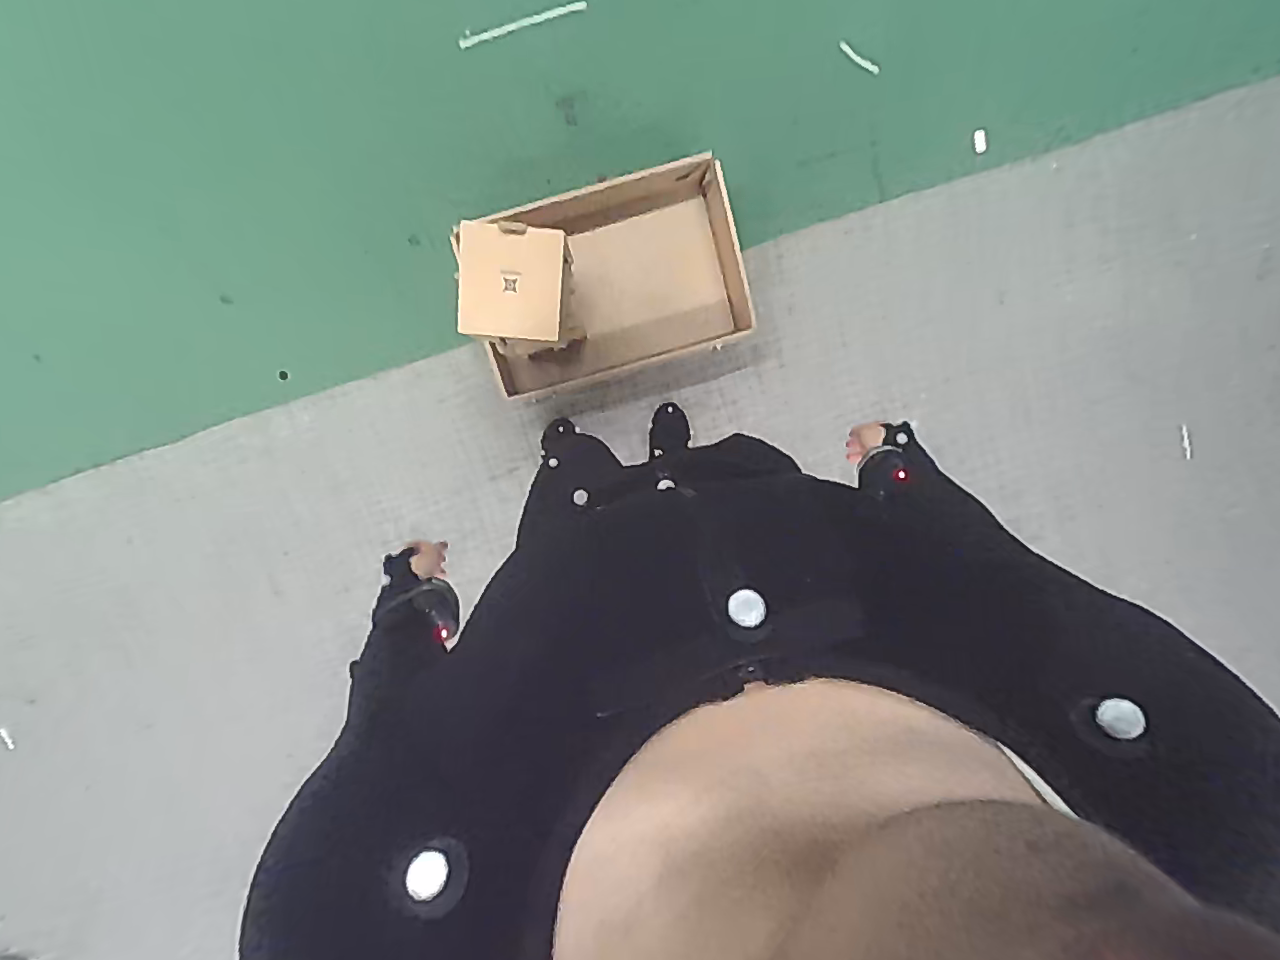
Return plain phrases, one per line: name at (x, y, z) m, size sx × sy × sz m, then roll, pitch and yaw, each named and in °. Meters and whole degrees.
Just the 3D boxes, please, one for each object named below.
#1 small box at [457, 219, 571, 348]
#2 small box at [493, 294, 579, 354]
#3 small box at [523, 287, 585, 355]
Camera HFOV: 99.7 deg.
small box at (-0.211, -0.328, 0.939) m, size 0.168 × 0.176 × 0.179 m, roll 4°, pitch 99°, yaw -5°
small box at (-0.226, -0.362, 1.098) m, size 0.168 × 0.176 × 0.179 m, roll -18°, pitch 100°, yaw -1°
small box at (-0.233, -0.401, 1.258) m, size 0.168 × 0.176 × 0.179 m, roll -19°, pitch 101°, yaw 0°
